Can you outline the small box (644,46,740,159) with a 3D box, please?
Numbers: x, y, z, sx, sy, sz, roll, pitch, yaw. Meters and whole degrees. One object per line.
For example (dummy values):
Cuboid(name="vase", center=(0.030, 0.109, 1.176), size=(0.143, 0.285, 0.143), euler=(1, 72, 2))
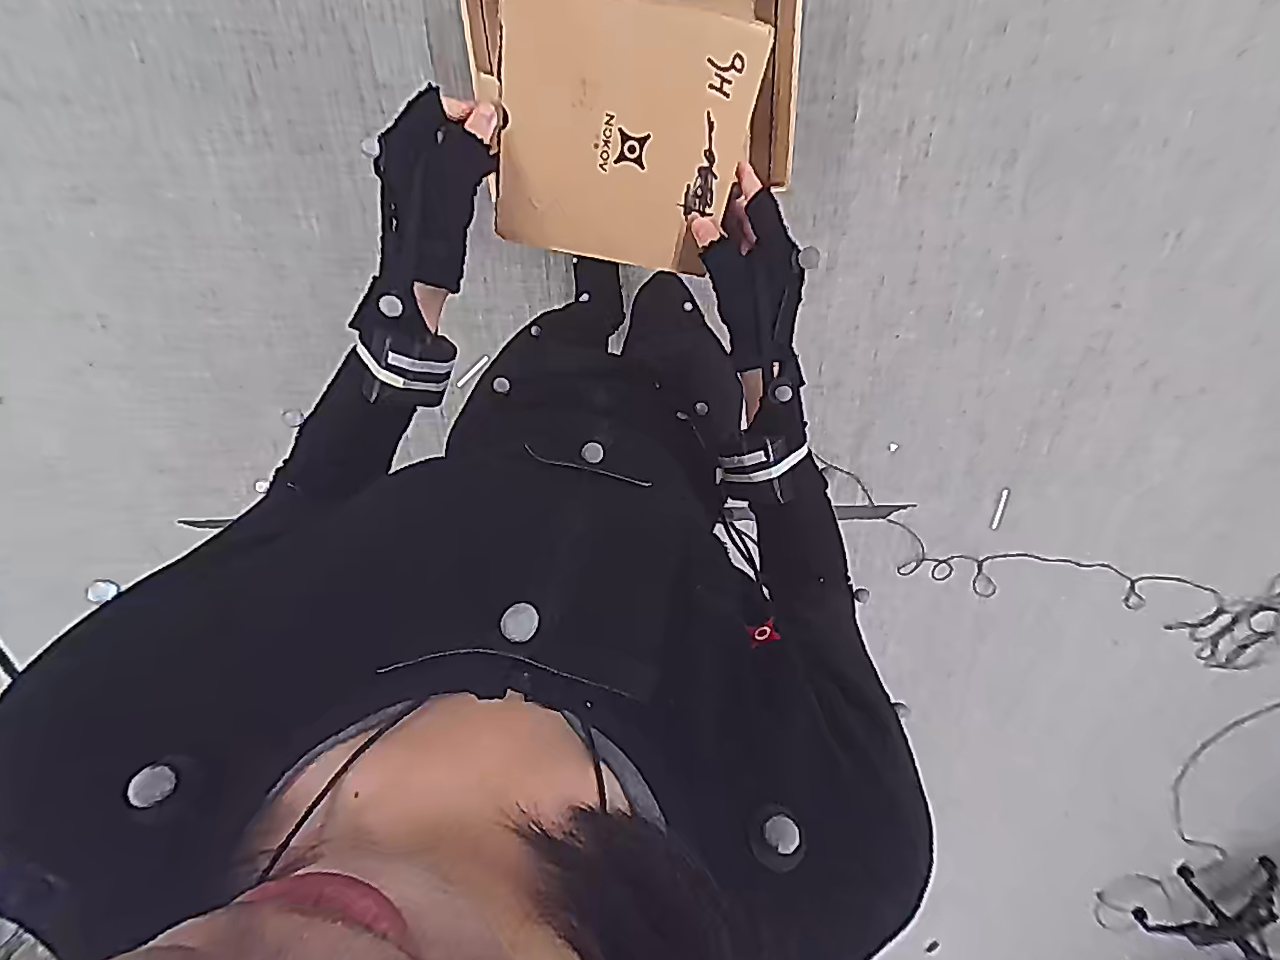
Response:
Cuboid(name="small box", center=(0.098, -0.752, 1.092), size=(0.179, 0.176, 0.168), euler=(-1, 115, 1))
